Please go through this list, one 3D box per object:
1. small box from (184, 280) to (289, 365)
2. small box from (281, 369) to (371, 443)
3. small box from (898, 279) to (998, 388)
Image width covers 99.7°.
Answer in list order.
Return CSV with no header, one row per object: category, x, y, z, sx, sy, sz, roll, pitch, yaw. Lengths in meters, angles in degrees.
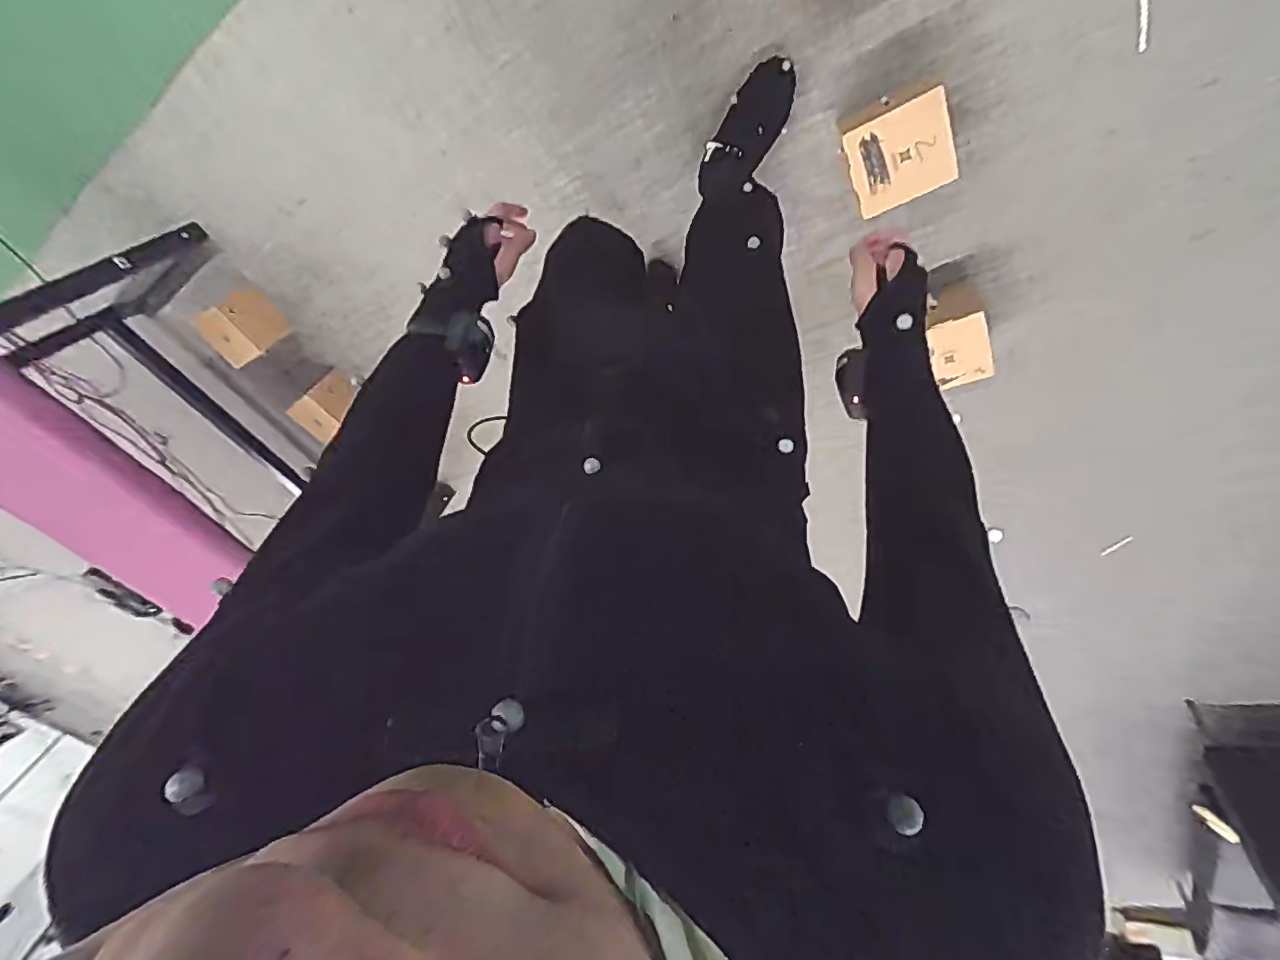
small box,-1.277,-0.504,1.724,0.168,0.176,0.179,-15,126,28
small box,-1.095,-0.267,1.896,0.168,0.176,0.179,-21,124,33
small box,0.726,-0.354,1.284,0.168,0.176,0.179,-15,126,28
